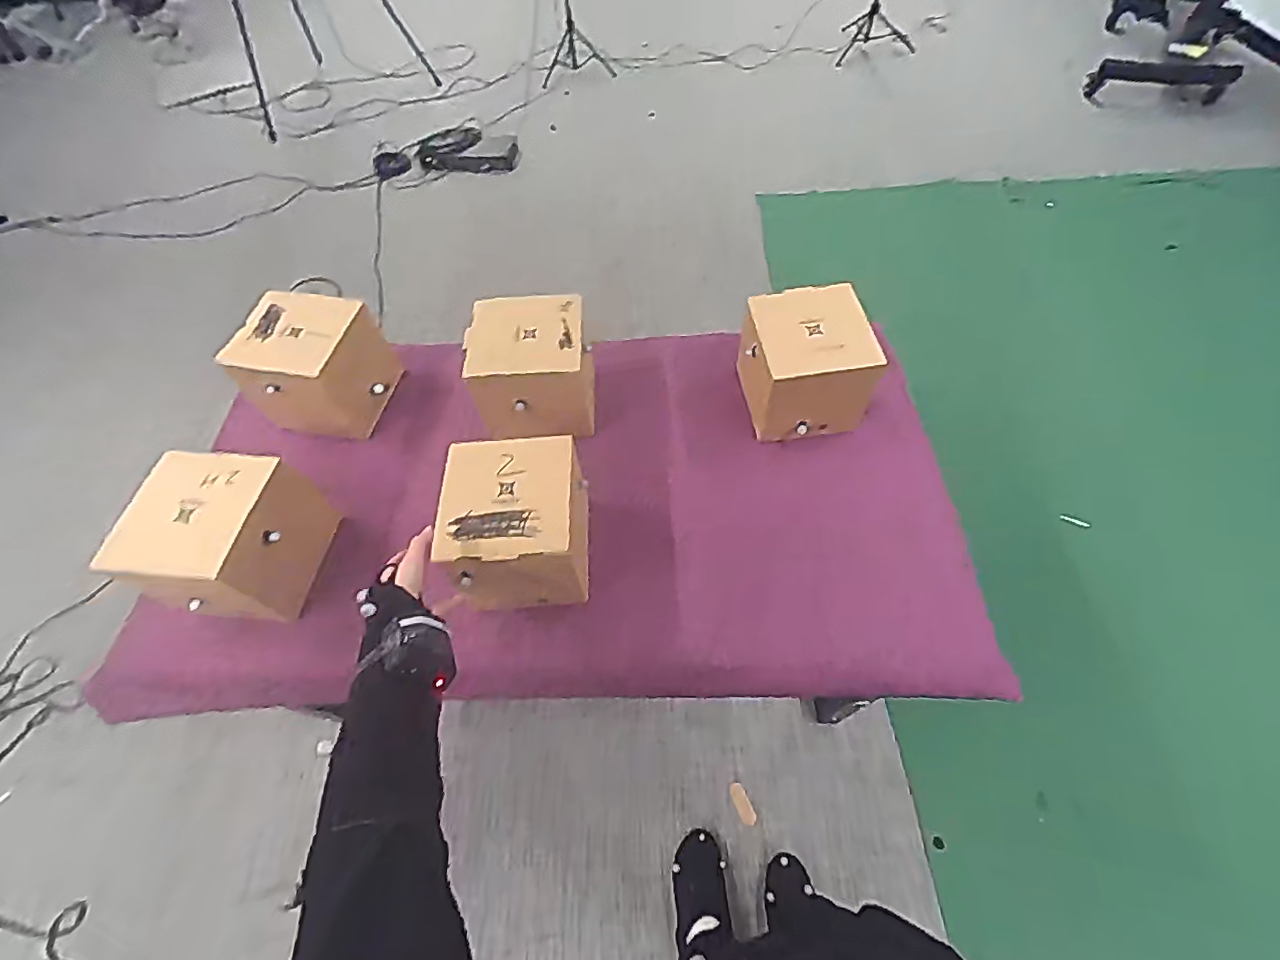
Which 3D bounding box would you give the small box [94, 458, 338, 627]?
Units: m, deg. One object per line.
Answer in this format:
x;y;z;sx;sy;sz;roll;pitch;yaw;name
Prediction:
-0.557;0.091;0.745;0.168;0.176;0.179;4;58;5;small box

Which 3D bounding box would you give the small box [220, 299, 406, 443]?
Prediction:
-0.536;-0.180;0.915;0.179;0.176;0.168;8;60;7;small box

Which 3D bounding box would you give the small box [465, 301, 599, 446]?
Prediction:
-0.167;-0.169;0.892;0.179;0.176;0.168;-4;59;2;small box

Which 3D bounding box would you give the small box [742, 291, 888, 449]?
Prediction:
0.266;-0.174;0.873;0.168;0.176;0.179;-8;59;0;small box
